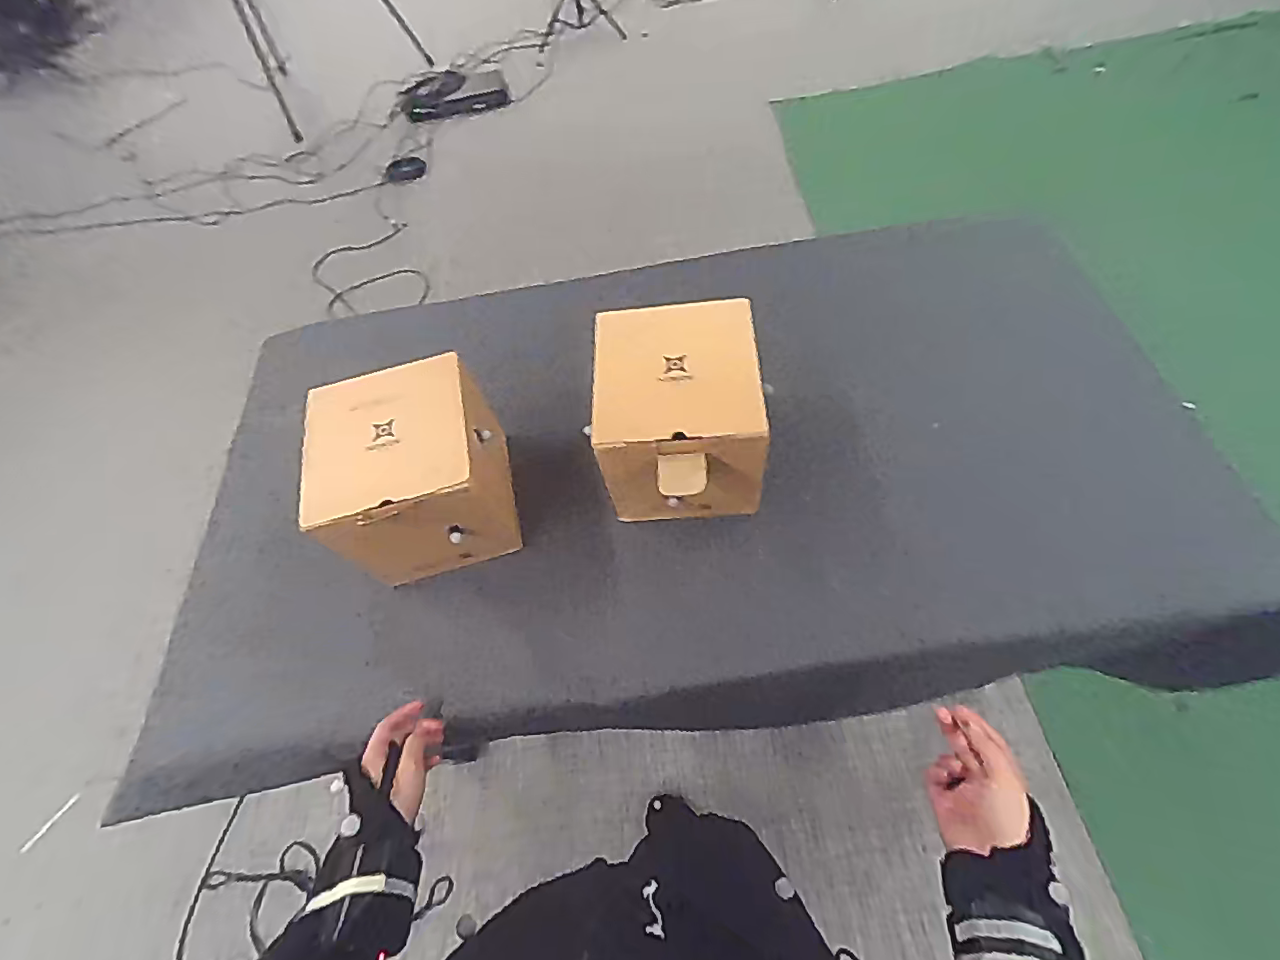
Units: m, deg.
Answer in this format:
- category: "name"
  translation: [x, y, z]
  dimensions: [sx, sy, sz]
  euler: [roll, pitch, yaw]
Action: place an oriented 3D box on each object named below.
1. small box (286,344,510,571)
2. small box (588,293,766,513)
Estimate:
- category: "small box"
  translation: [-0.254, -0.014, 0.600]
  dimensions: [0.168, 0.176, 0.179]
  euler: [-15, 59, -3]
- category: "small box"
  translation: [0.039, -0.079, 0.601]
  dimensions: [0.168, 0.176, 0.179]
  euler: [-4, 61, 4]
